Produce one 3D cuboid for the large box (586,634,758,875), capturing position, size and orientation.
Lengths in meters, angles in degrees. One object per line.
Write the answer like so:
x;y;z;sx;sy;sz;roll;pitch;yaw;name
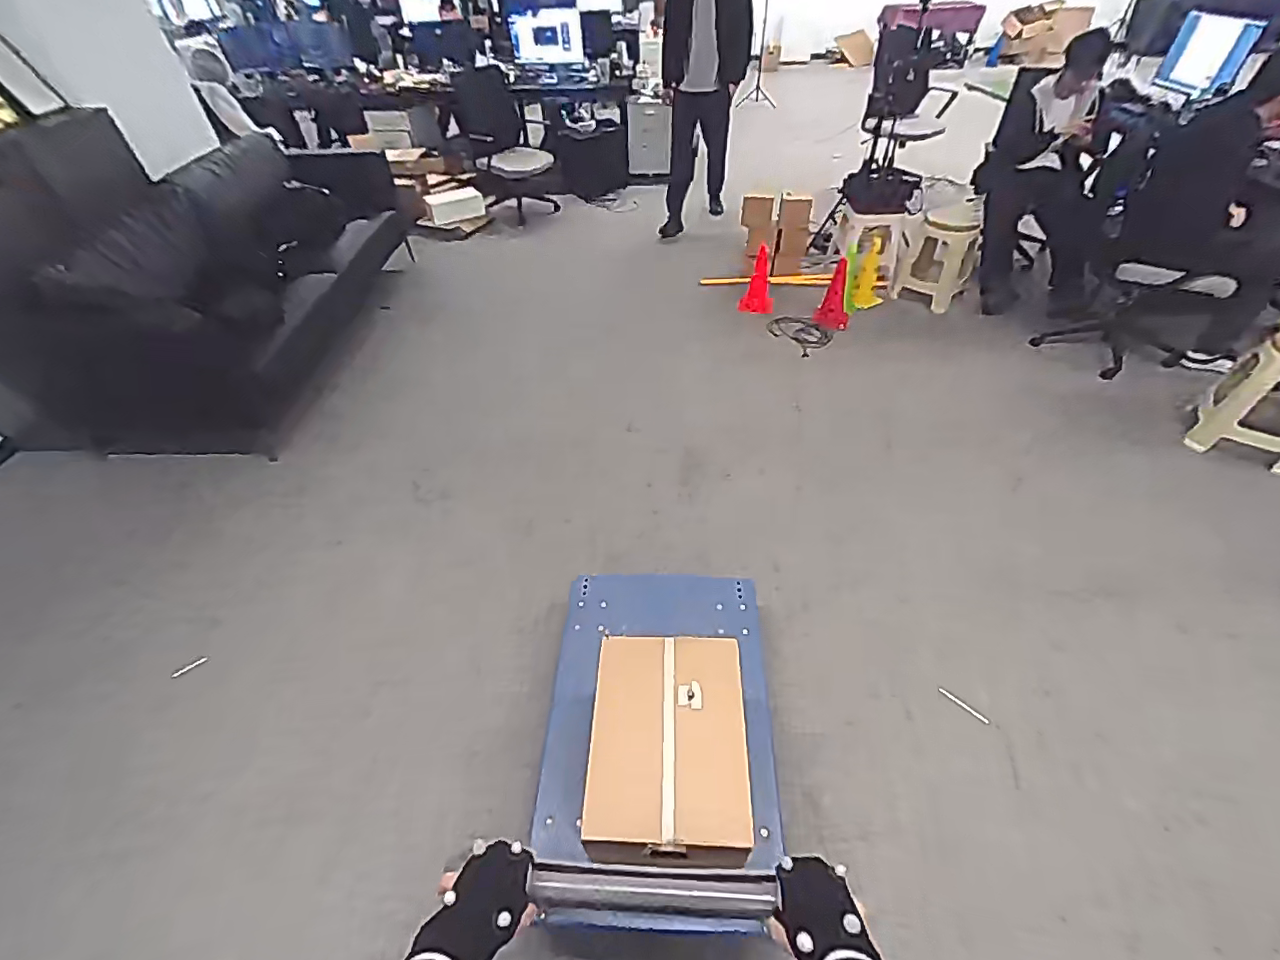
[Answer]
0.068;0.601;1.195;0.320;0.320;0.408;1;45;3;large box
